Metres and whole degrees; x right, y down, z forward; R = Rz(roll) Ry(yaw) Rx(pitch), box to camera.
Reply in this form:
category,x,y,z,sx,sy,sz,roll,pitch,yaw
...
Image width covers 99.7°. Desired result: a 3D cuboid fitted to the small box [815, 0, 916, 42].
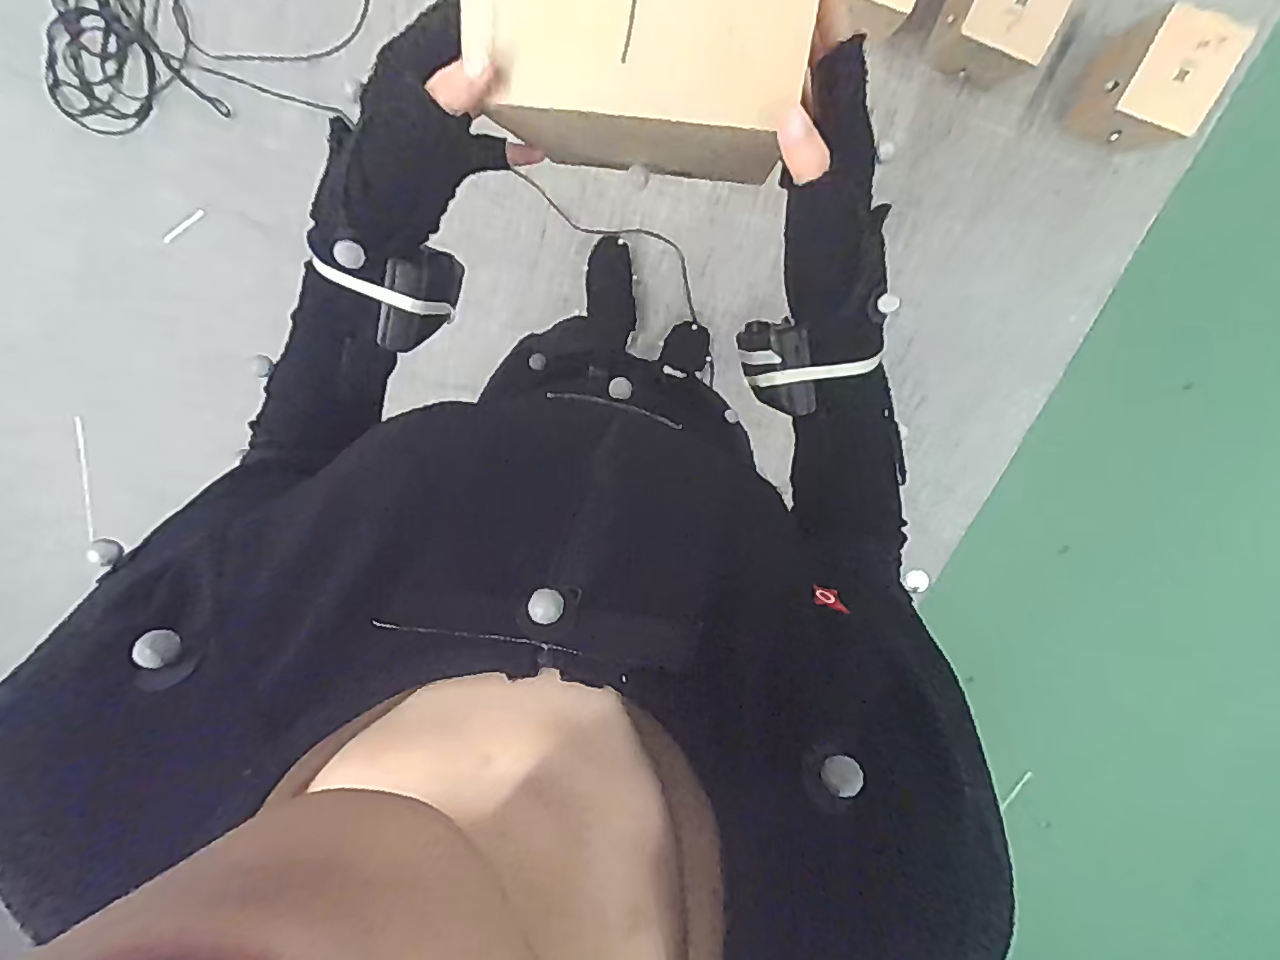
category,x,y,z,sx,sy,sz,roll,pitch,yaw
small box,0.447,-0.976,1.019,0.168,0.176,0.179,18,111,-3

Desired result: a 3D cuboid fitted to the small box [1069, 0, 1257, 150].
category,x,y,z,sx,sy,sz,roll,pitch,yaw
small box,1.002,-0.779,1.061,0.168,0.176,0.179,18,112,-4
